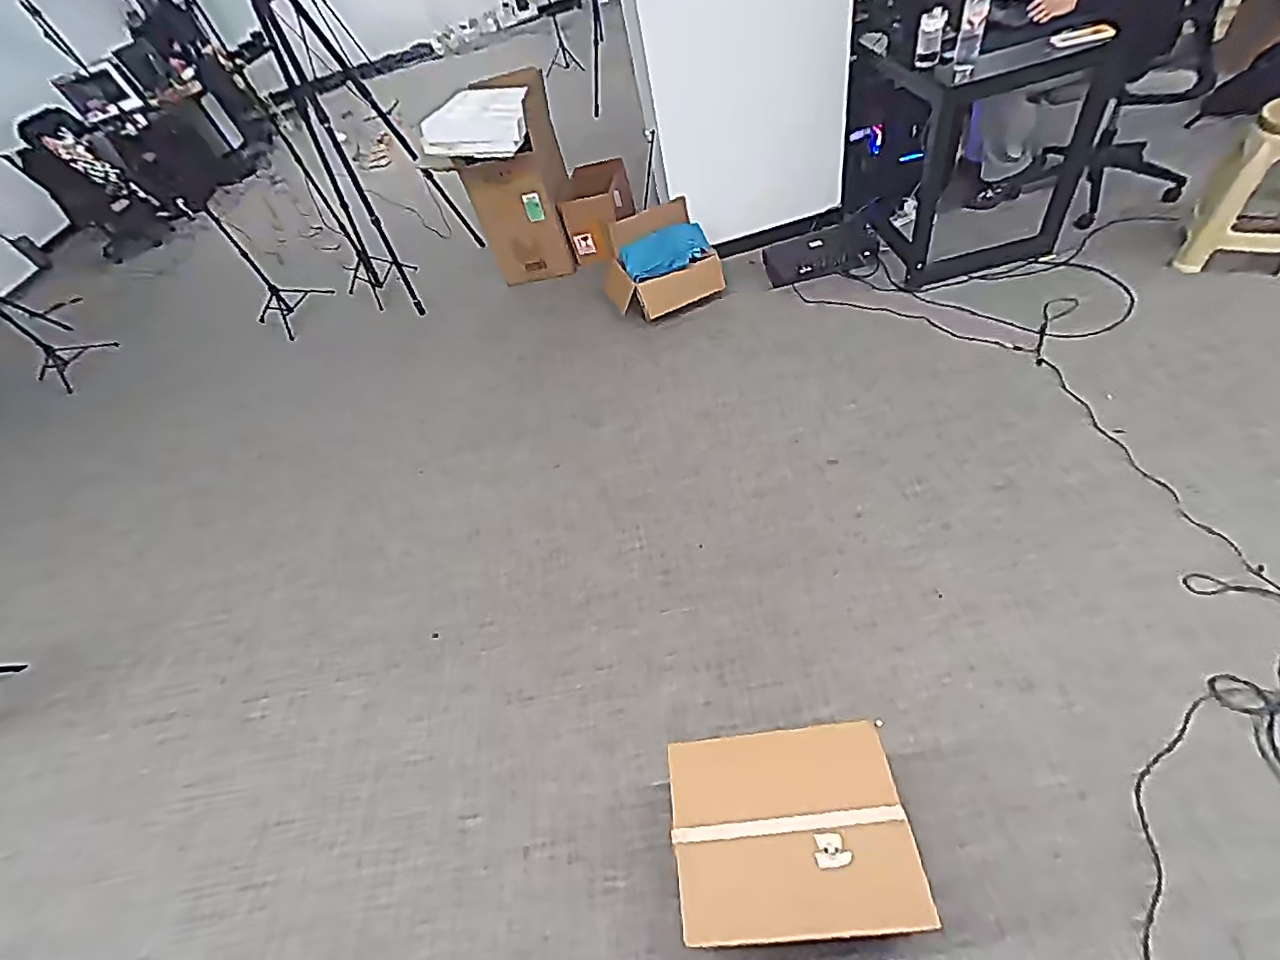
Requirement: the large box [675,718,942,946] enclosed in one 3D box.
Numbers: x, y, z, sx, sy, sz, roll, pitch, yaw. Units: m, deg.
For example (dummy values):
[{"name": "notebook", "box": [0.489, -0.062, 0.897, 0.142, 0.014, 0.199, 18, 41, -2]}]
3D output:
[{"name": "large box", "box": [0.303, 0.704, 1.072, 0.408, 0.320, 0.320, -11, 49, 7]}]
